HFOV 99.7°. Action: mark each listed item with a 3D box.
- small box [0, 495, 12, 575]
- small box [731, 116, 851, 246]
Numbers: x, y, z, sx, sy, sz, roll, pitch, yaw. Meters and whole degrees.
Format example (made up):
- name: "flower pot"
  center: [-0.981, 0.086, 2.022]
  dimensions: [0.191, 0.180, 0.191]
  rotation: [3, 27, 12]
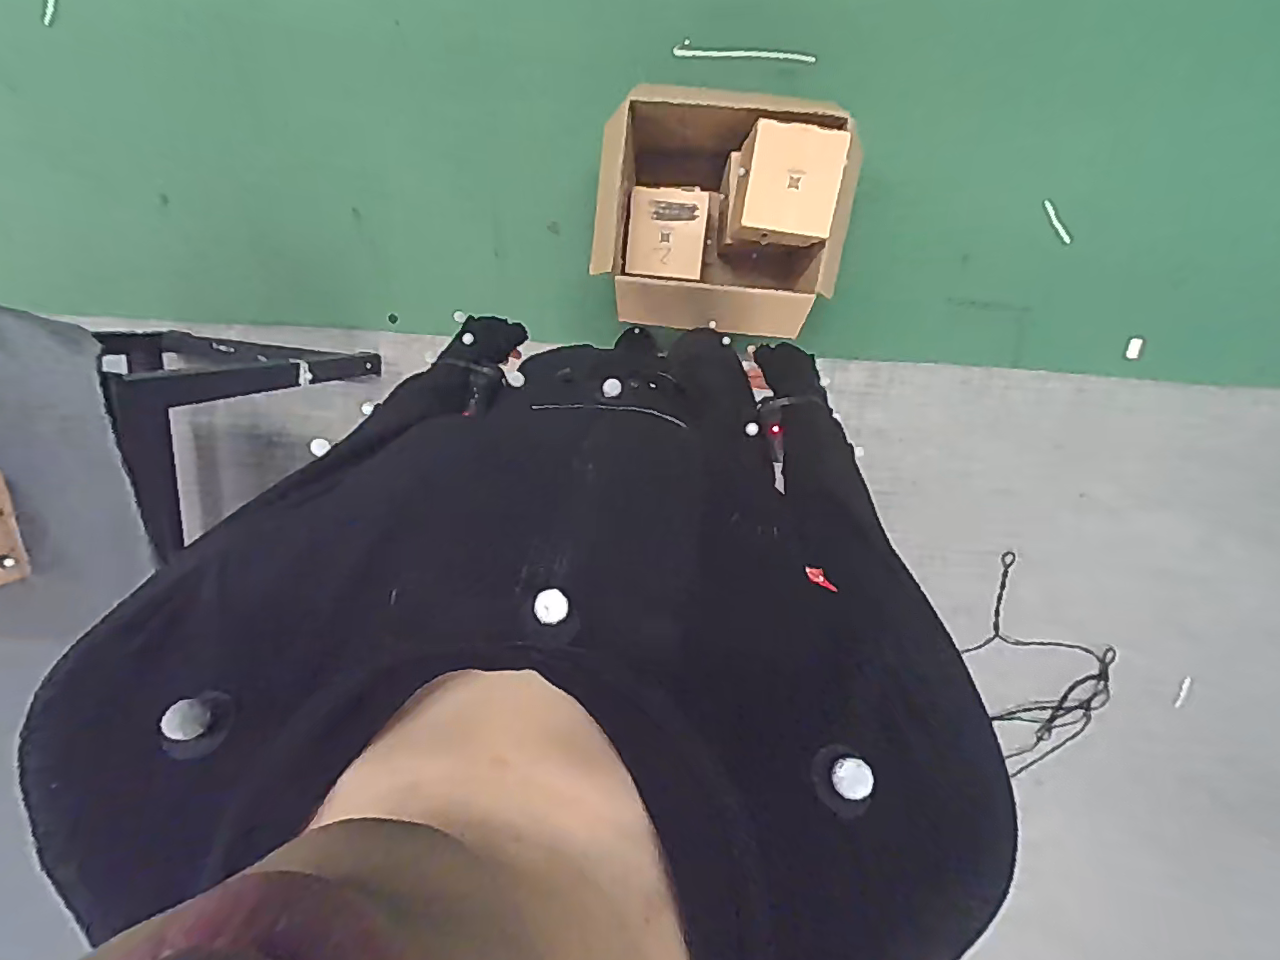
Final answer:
- name: "small box"
  center: [-1.006, 0.076, 0.714]
  dimensions: [0.179, 0.176, 0.168]
  rotation: [4, 106, 3]
- name: "small box"
  center: [0.275, -0.557, 1.032]
  dimensions: [0.168, 0.176, 0.179]
  rotation: [8, 106, -1]
